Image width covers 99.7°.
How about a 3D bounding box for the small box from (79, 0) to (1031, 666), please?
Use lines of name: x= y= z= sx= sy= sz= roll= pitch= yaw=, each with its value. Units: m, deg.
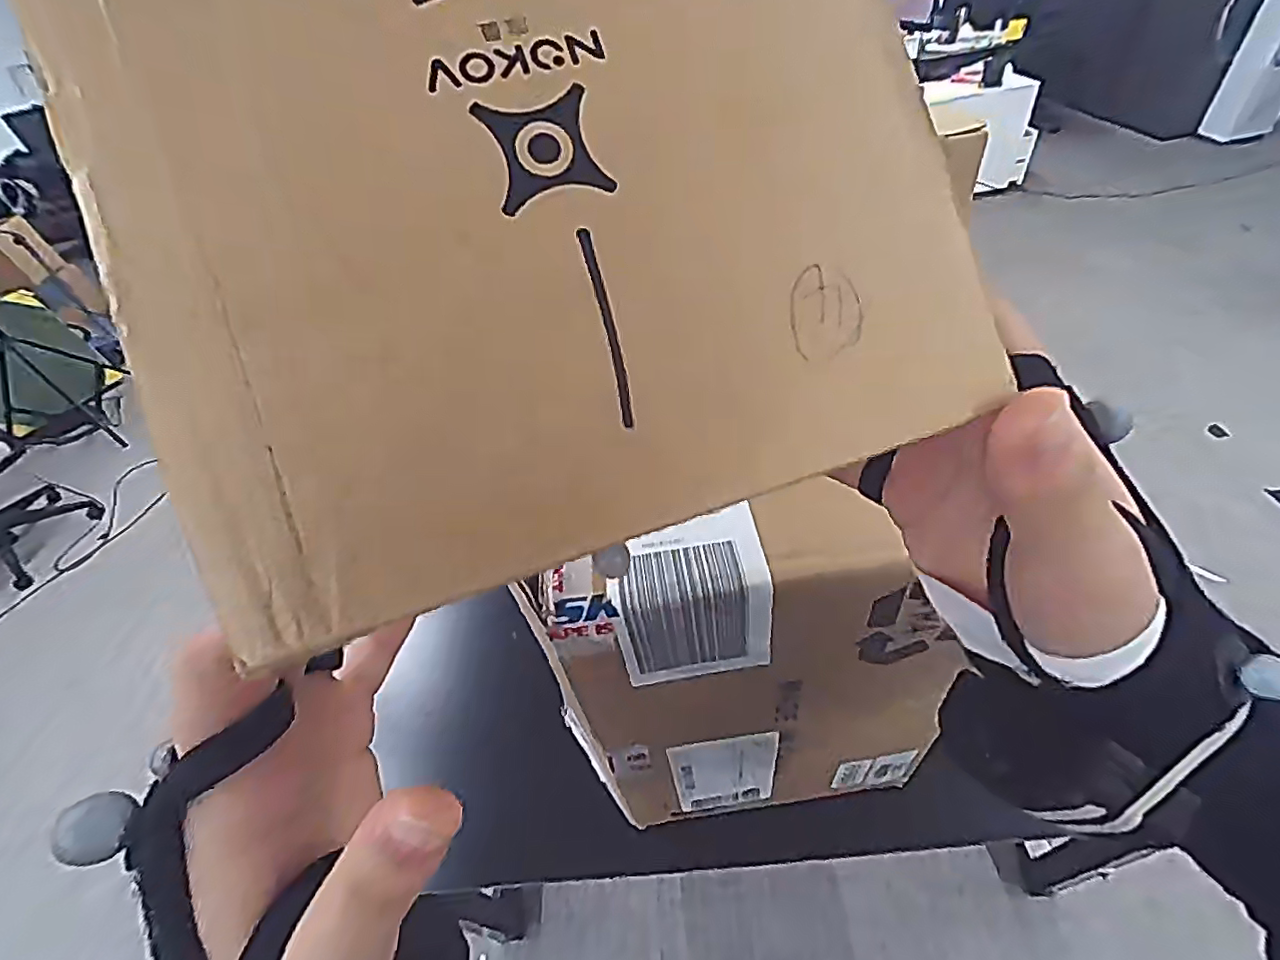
small box: x=-0.026 y=-0.062 z=0.191 sx=0.168 sy=0.176 sz=0.179 roll=-18 pitch=87 yaw=-9
